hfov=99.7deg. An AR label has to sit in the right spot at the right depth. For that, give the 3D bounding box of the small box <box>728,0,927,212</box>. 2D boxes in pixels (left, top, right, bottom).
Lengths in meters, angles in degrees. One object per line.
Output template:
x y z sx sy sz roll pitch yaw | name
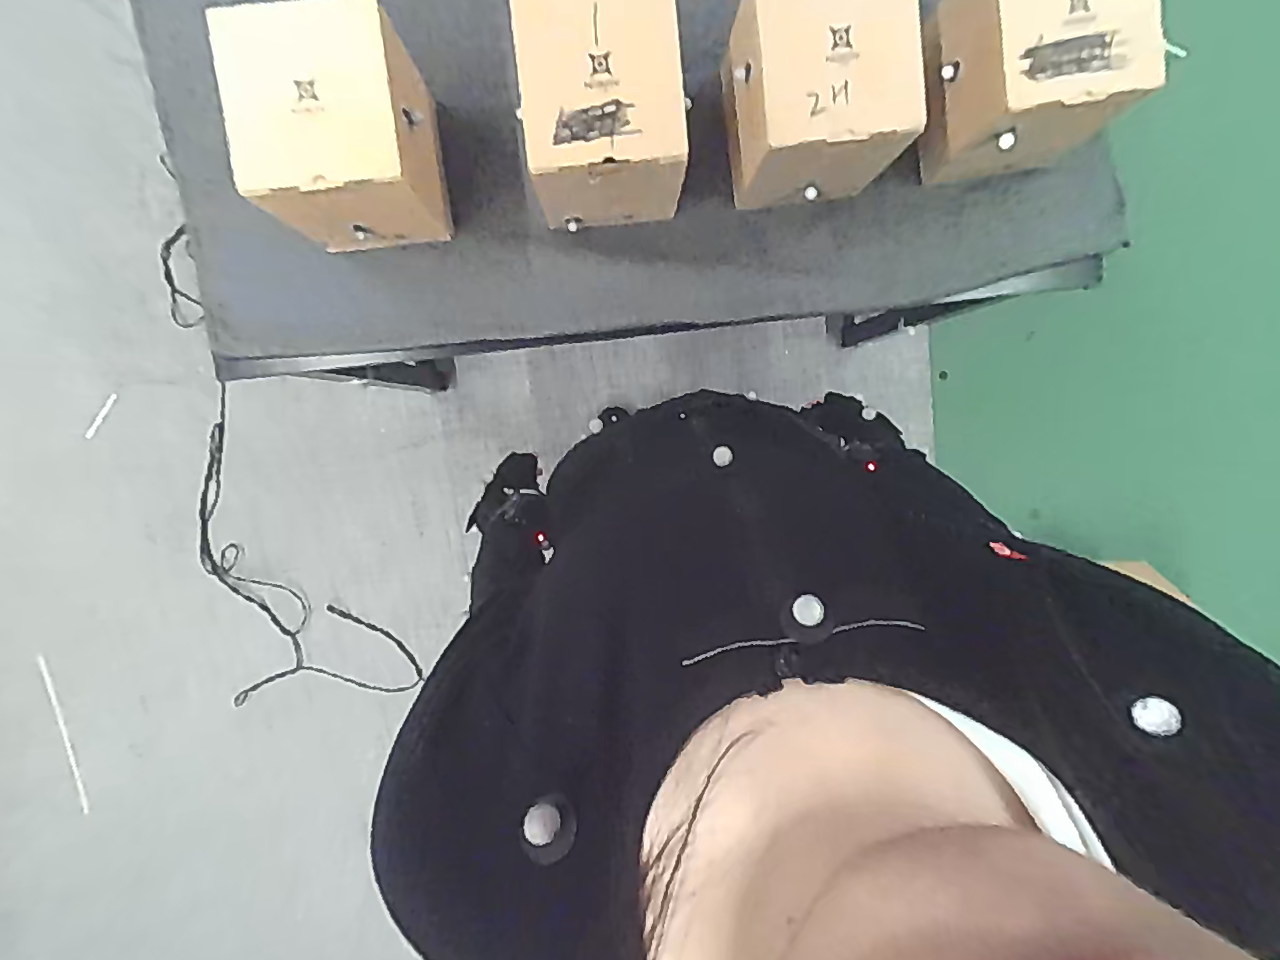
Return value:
0.202 -0.440 0.625 0.168 0.176 0.179 -7 96 1 | small box

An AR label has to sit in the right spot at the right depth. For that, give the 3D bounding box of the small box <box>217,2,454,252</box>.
-0.325 -0.382 0.614 0.168 0.176 0.179 -7 95 -2 | small box

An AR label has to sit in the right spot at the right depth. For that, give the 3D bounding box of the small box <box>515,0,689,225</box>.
-0.038 -0.410 0.621 0.168 0.176 0.179 -6 95 -1 | small box
